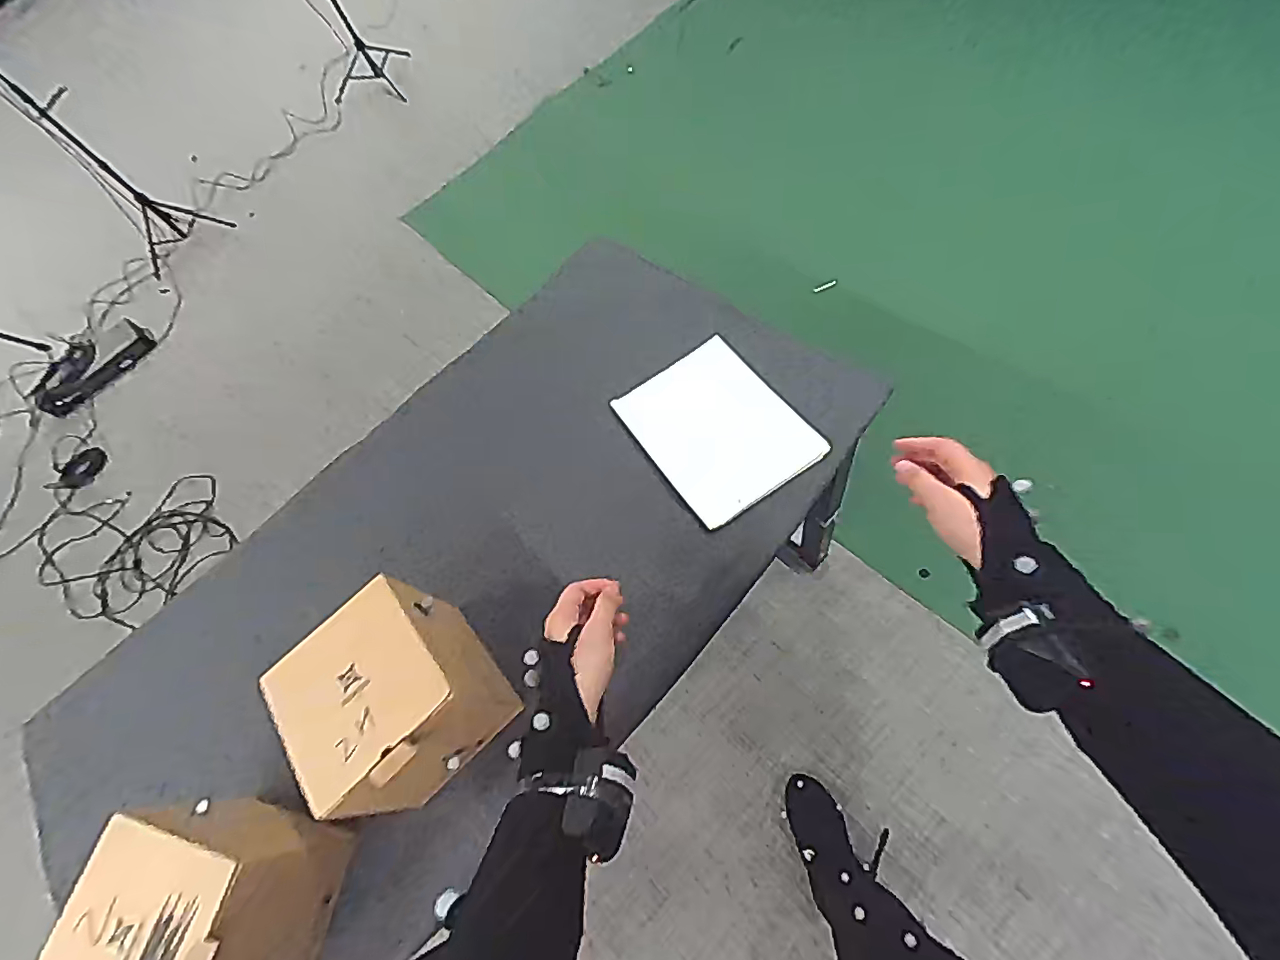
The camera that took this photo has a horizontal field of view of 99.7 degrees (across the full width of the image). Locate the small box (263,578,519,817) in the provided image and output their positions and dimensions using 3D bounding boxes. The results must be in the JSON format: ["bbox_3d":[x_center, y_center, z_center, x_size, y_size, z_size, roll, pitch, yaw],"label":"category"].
[{"bbox_3d":[-0.275,0.248,0.624,0.168,0.176,0.179,-43,62,-8],"label":"small box"}]
